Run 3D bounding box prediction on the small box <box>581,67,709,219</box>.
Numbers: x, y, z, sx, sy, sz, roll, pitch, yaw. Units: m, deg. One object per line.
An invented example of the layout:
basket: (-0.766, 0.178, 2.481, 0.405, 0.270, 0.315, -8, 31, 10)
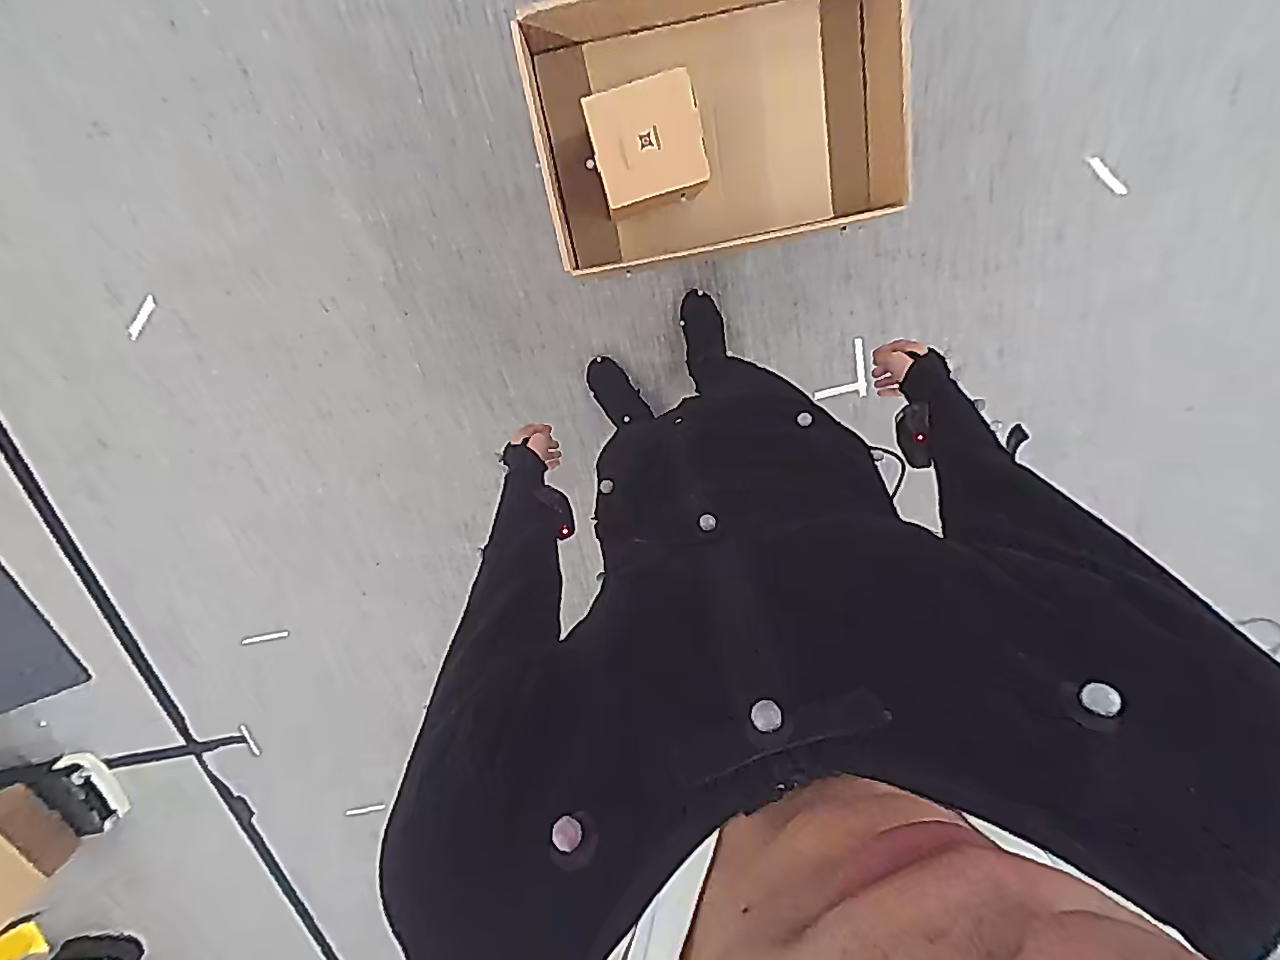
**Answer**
small box: (0.005, -0.571, 0.939, 0.179, 0.176, 0.168, -16, 109, 3)
